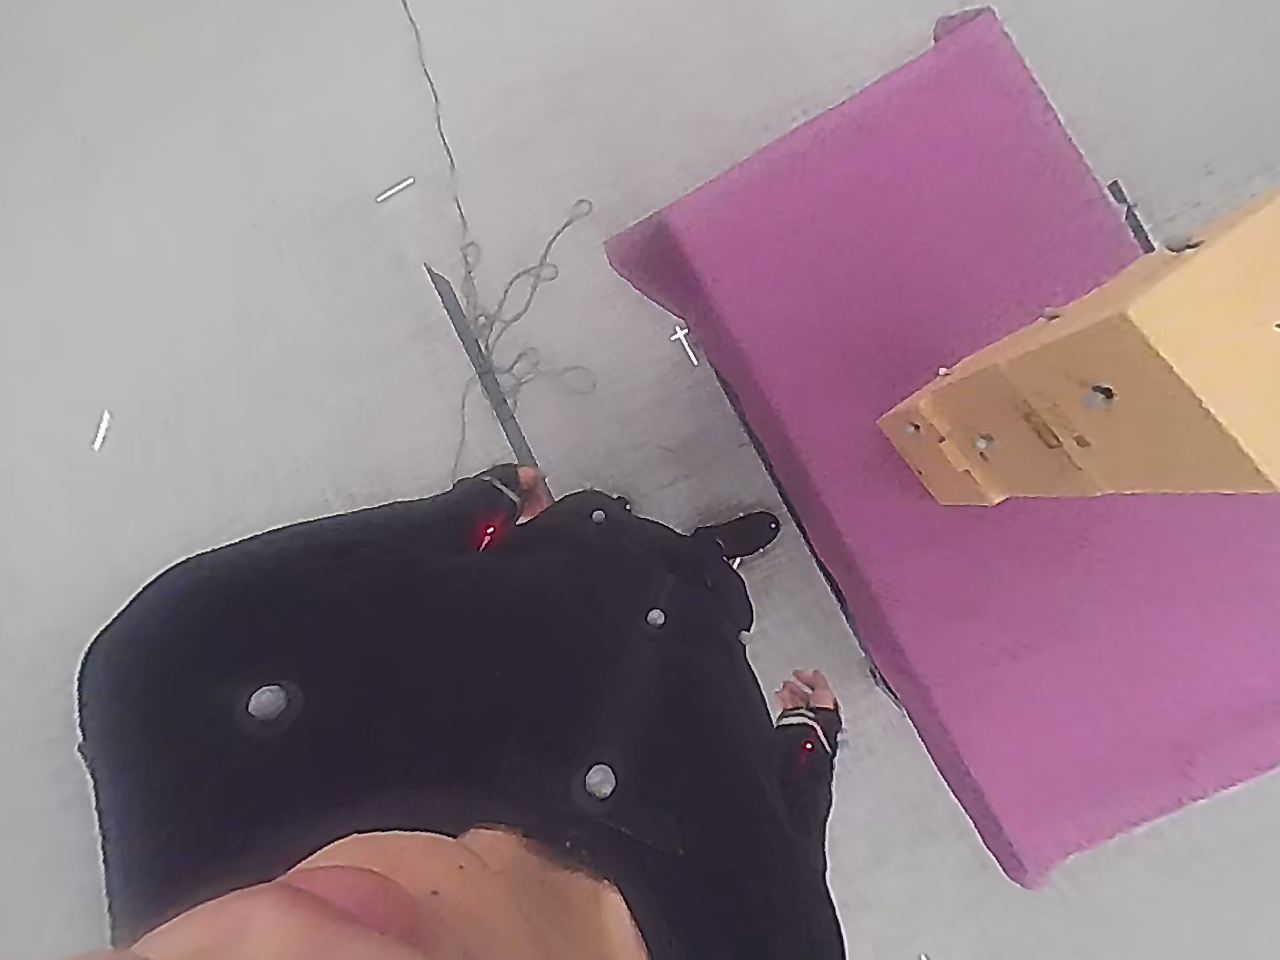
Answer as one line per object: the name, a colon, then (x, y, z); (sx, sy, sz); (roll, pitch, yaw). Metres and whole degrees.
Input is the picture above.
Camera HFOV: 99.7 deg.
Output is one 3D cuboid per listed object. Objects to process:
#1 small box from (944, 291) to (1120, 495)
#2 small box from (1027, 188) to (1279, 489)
small box: (0.492, -0.097, 0.609); (0.179, 0.176, 0.168); (-34, 84, 4)
small box: (0.471, -0.104, 0.448); (0.179, 0.176, 0.168); (-37, 84, 3)
